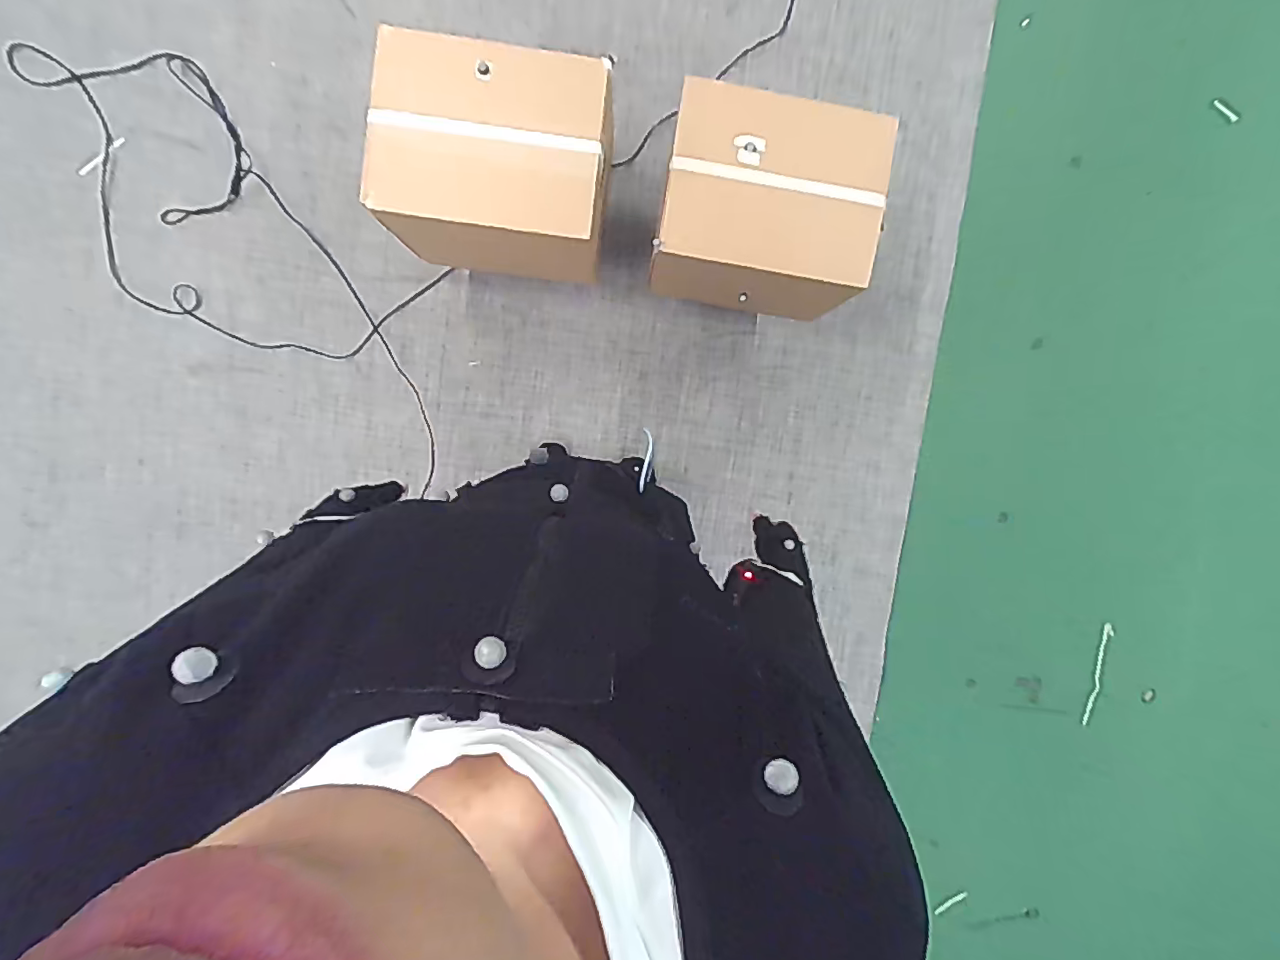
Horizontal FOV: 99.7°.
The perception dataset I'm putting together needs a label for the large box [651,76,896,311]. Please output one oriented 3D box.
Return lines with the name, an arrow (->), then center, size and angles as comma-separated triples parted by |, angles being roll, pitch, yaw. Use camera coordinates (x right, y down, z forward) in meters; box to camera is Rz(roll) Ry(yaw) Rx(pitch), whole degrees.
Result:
large box -> 0.251, -0.567, 1.145 | 0.408, 0.320, 0.320 | 9, 95, -3
